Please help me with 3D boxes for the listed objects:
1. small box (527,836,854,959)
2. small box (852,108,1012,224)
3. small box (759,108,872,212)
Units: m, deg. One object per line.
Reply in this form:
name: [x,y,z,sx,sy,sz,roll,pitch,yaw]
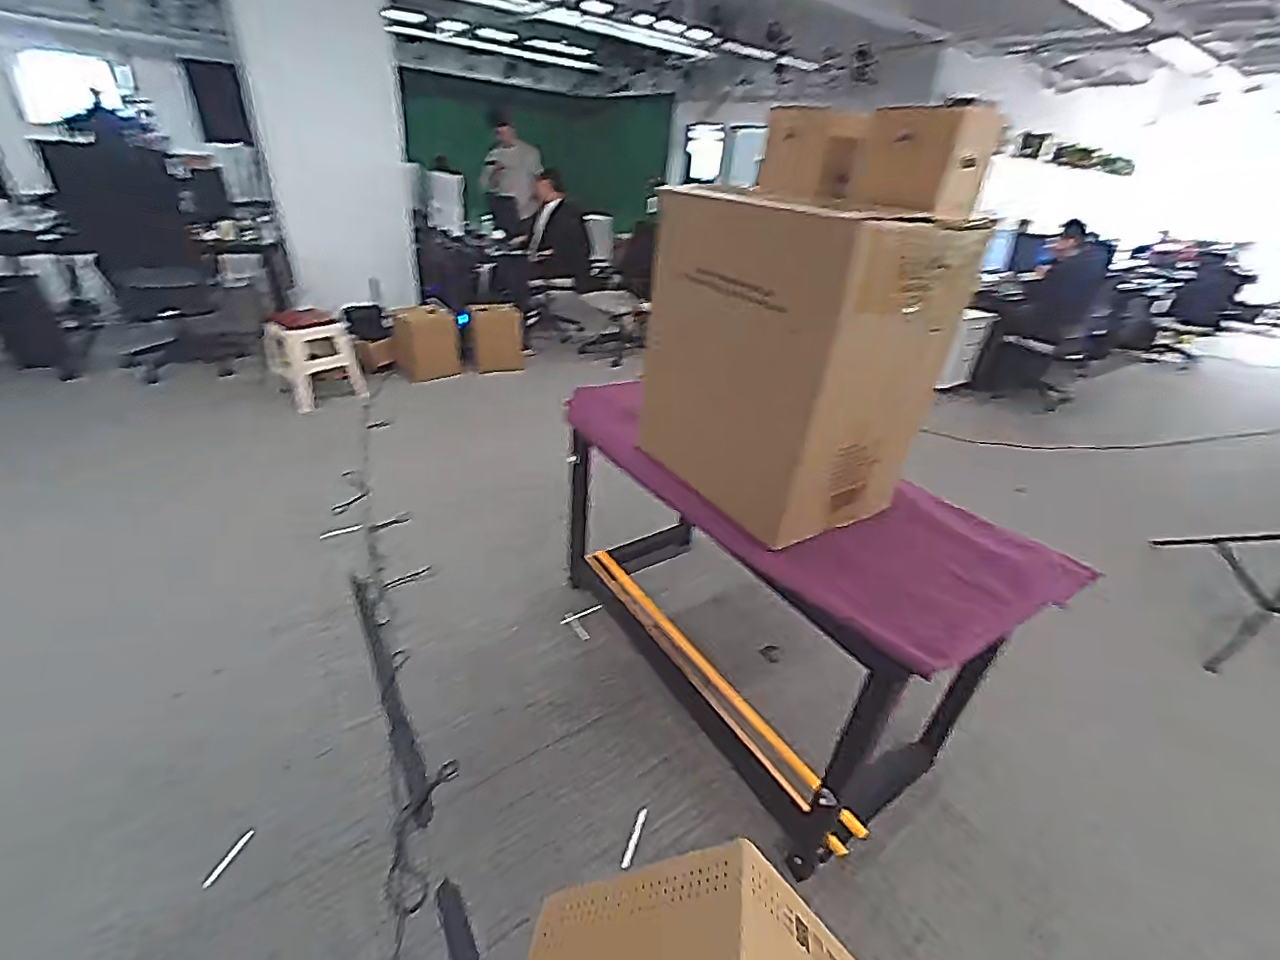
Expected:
small box: [0.027,0.350,0.307,0.179,0.168,0.176,-34,13,21]
small box: [0.523,-0.566,0.986,0.168,0.176,0.179,-18,36,-34]
small box: [0.379,-0.677,1.148,0.168,0.176,0.179,-16,39,-30]
